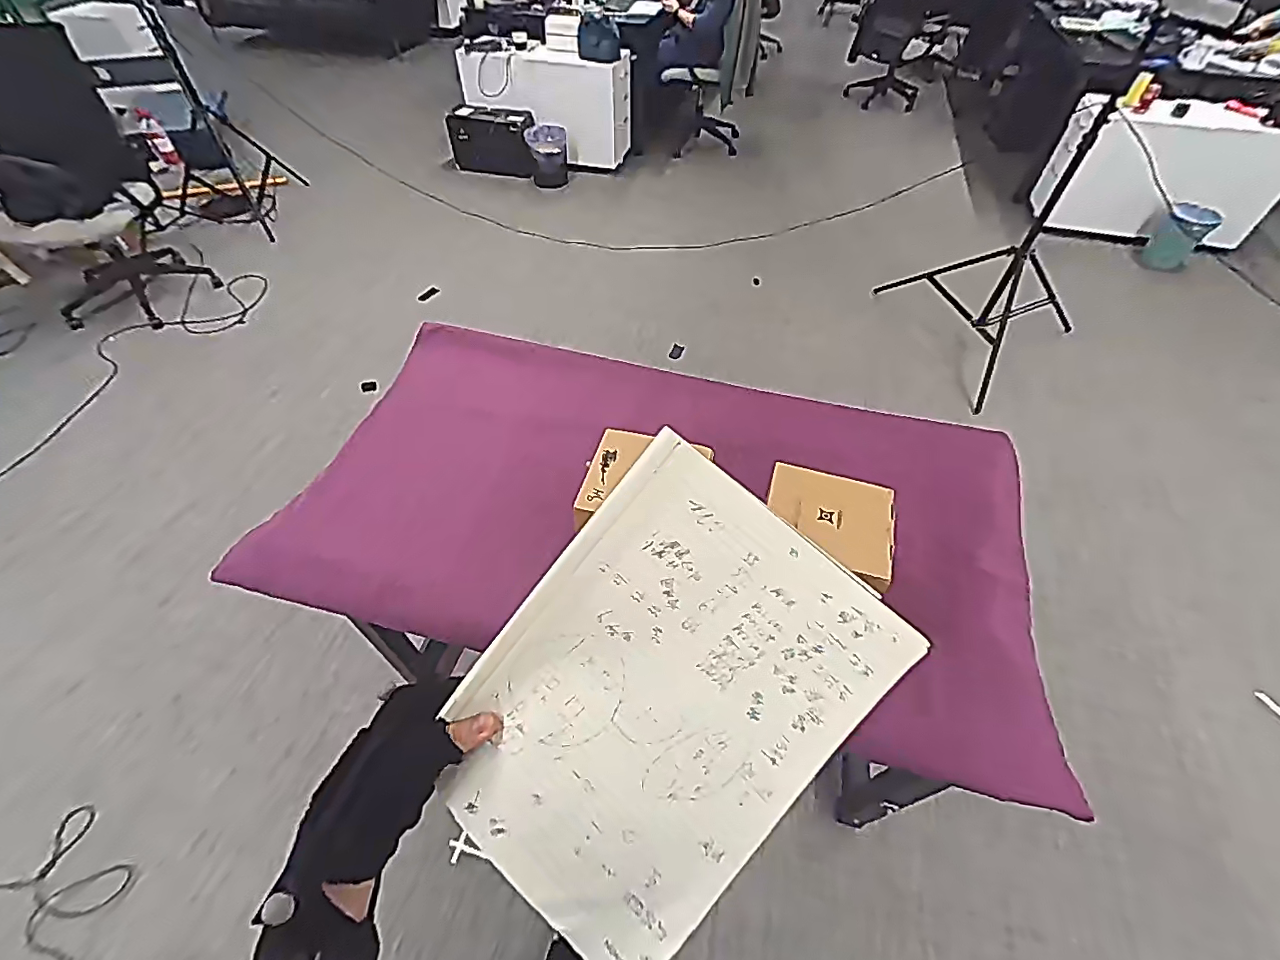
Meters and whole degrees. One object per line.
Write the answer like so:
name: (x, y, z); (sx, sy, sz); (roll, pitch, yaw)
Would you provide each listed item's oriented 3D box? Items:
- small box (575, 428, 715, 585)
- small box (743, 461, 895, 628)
small box: (0.010, 0.046, 0.859); (0.179, 0.176, 0.168); (12, 50, 9)
small box: (0.266, 0.101, 0.817); (0.179, 0.176, 0.168); (13, 49, 12)
